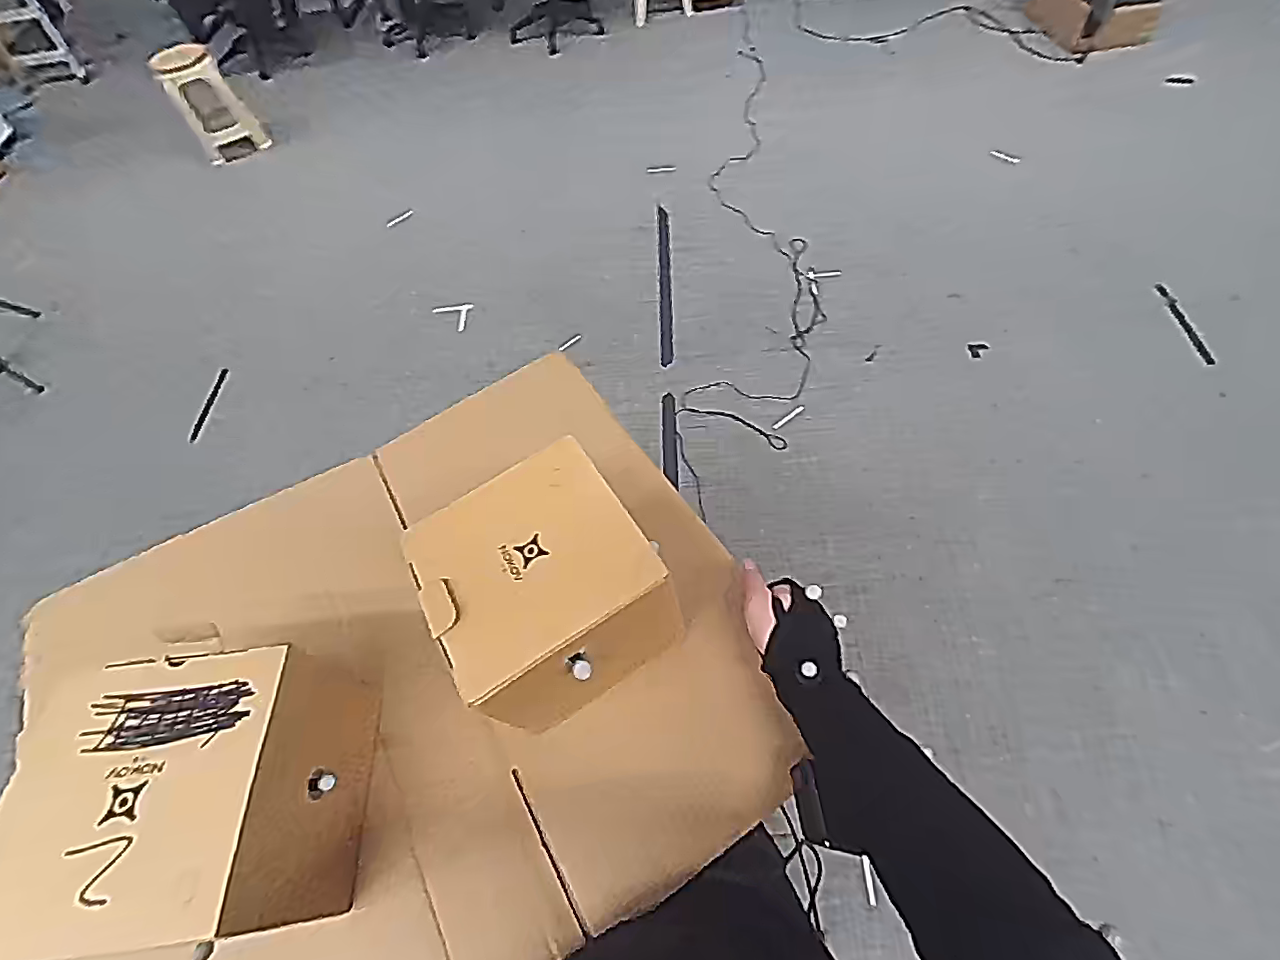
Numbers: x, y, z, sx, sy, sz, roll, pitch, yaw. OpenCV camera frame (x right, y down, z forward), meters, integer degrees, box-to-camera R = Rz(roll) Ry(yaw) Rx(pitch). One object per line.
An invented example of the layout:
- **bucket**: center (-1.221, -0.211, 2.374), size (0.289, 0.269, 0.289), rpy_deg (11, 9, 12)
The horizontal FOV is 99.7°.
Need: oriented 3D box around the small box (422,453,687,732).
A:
- **small box**: center (-0.067, 0.112, 0.514), size (0.179, 0.176, 0.168), rpy_deg (-31, 59, -9)
